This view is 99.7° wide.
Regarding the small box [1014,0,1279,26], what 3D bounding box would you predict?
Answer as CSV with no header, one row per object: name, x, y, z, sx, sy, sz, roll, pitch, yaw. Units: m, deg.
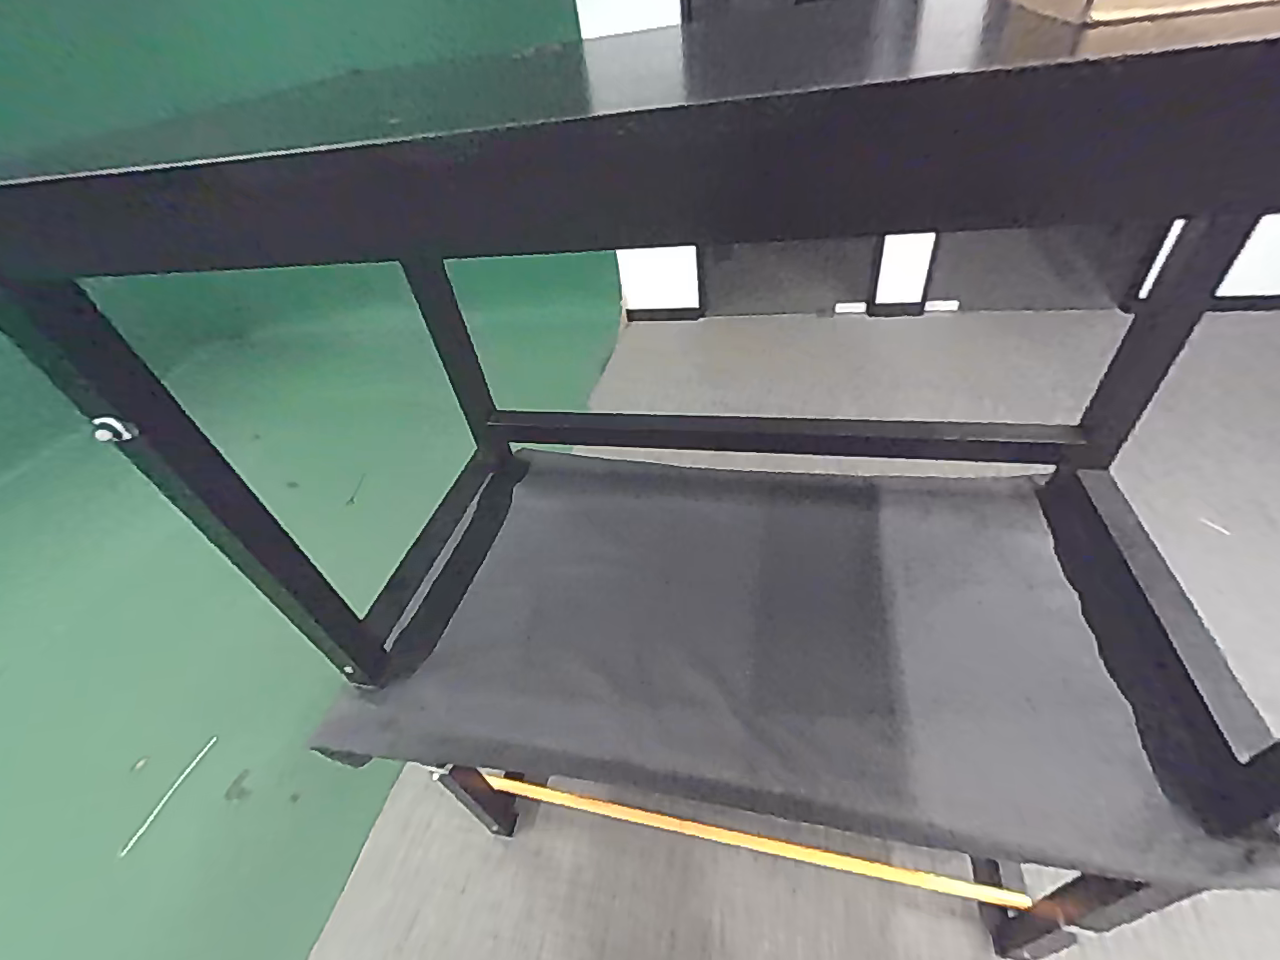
small box,0.290,-0.317,0.234,0.168,0.176,0.179,6,44,17
